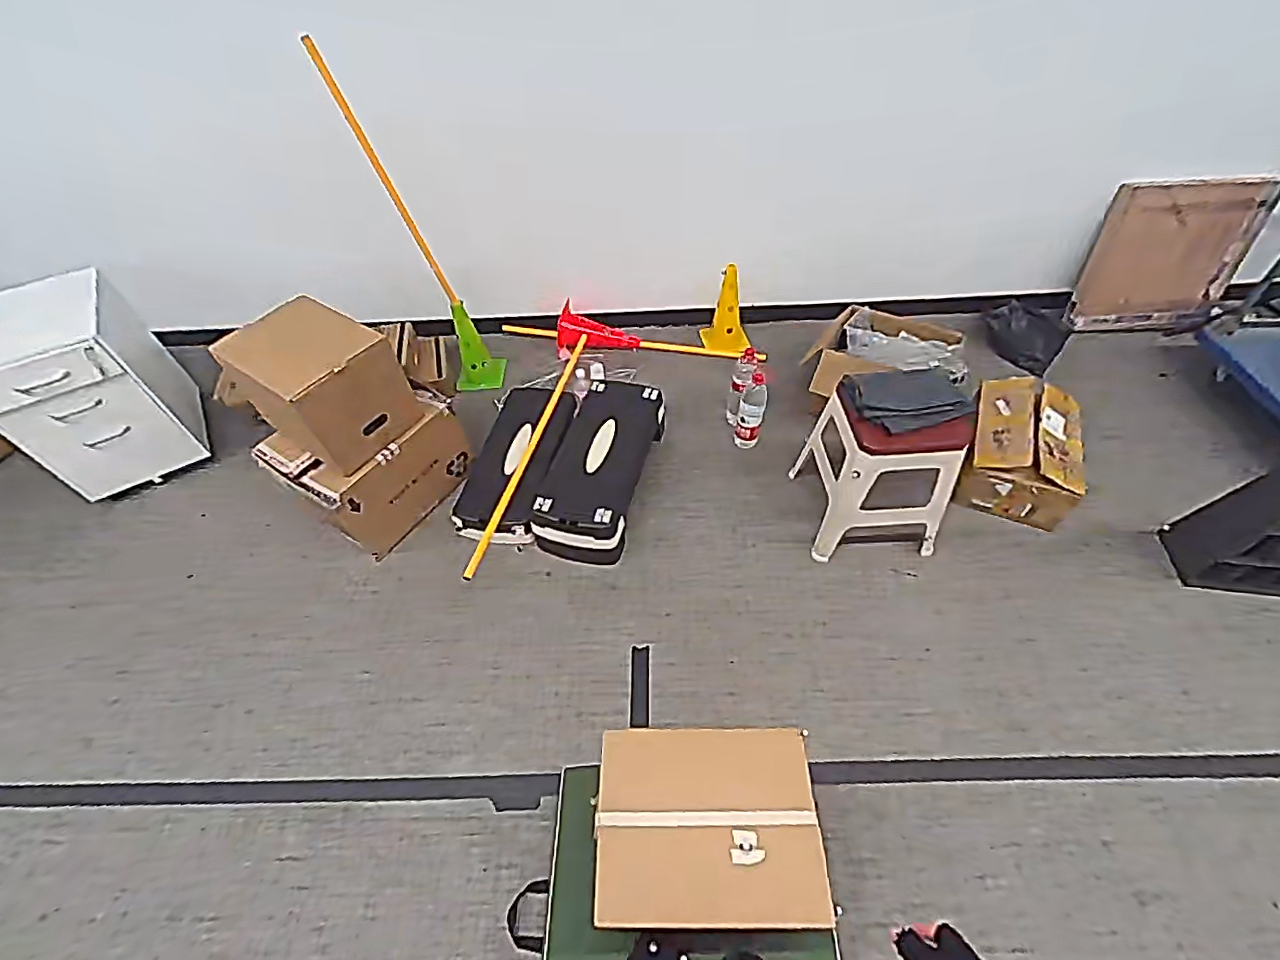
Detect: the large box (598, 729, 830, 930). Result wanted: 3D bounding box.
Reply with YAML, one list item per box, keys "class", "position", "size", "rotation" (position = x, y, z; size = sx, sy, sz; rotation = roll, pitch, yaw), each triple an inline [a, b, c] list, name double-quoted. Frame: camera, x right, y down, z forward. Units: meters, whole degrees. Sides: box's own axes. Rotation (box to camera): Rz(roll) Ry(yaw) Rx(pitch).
- class: "large box"
  position: [0.124, 0.728, 1.121]
  size: [0.408, 0.320, 0.320]
  rotation: [-1, 51, 1]
